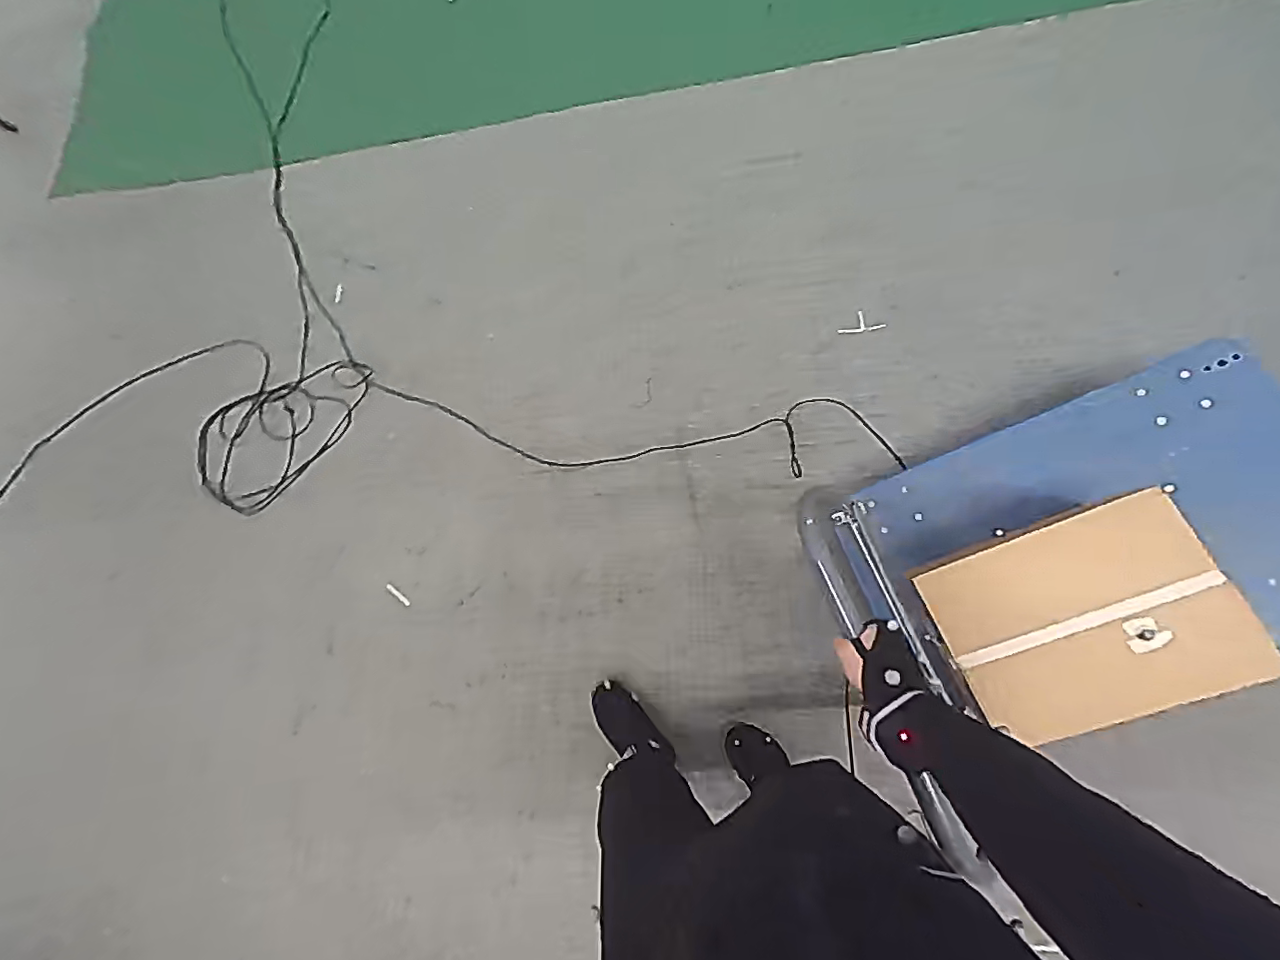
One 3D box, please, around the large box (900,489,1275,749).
[{"bbox_3d":[0.775,0.259,1.033,0.408,0.320,0.320,-26,73,15],"label":"large box"}]
